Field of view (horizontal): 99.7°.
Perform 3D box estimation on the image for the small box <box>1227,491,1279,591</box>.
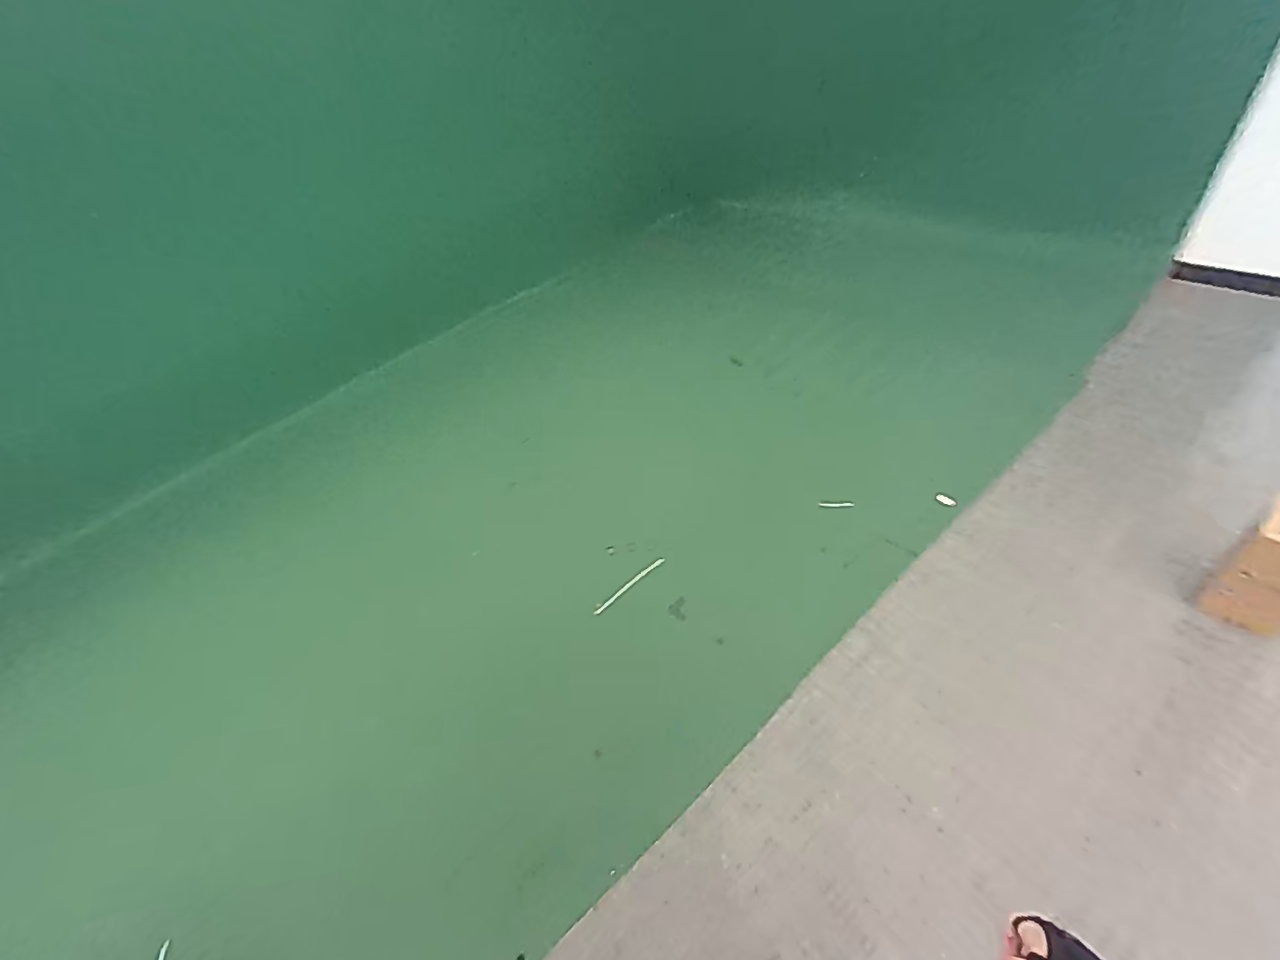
[{"bbox_3d":[1.625,0.165,1.340,0.179,0.176,0.168,-38,49,-22],"label":"small box"}]
